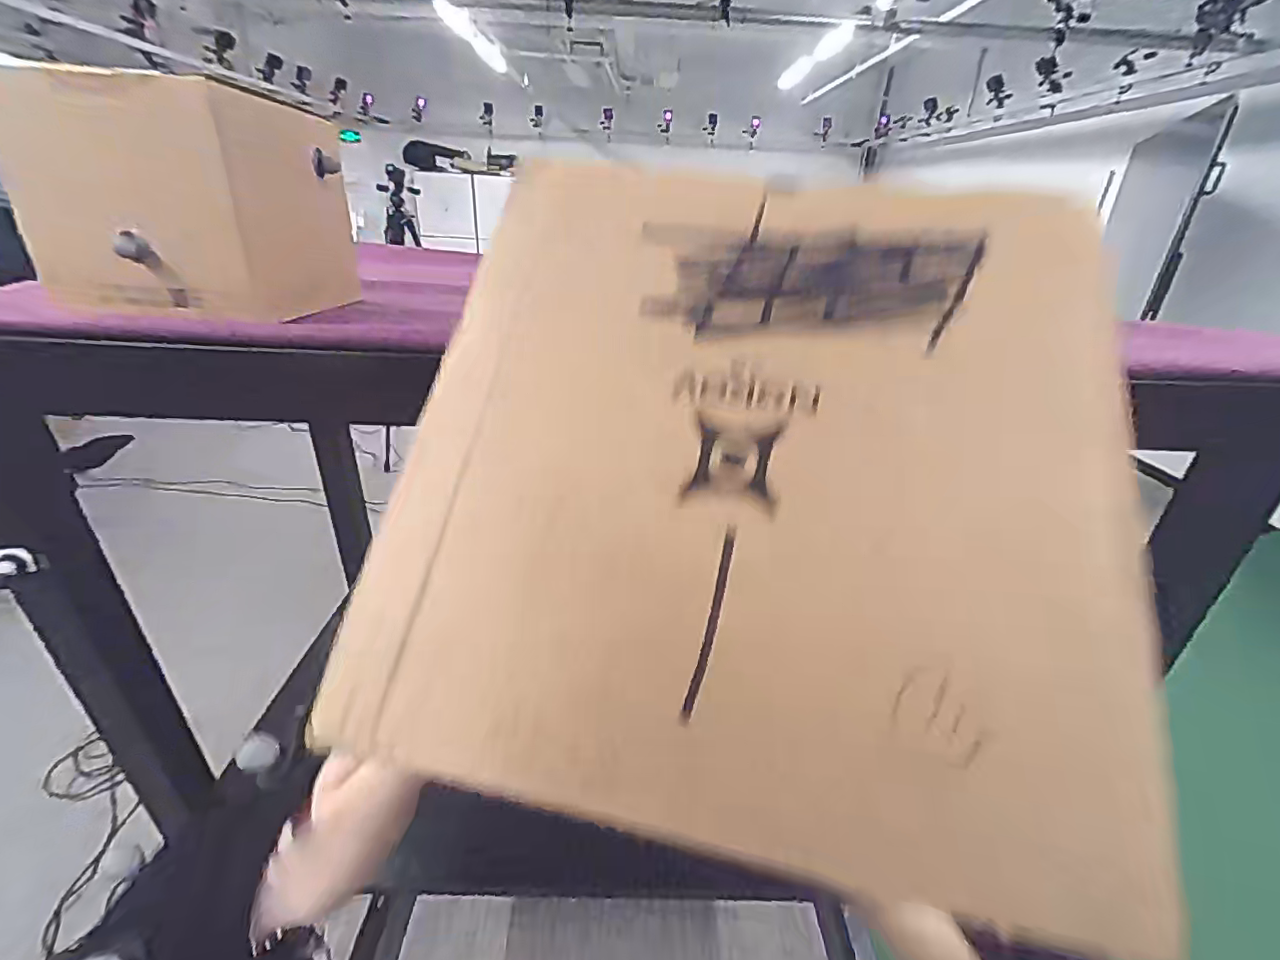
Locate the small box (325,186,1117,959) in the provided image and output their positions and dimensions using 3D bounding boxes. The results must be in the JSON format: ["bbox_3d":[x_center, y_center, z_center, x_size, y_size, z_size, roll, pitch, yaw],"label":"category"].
[{"bbox_3d":[0.031,0.024,0.212,0.168,0.176,0.179,9,71,10],"label":"small box"}]

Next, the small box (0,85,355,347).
[{"bbox_3d":[-0.376,-0.223,0.476,0.168,0.176,0.179,2,26,-1],"label":"small box"}]
